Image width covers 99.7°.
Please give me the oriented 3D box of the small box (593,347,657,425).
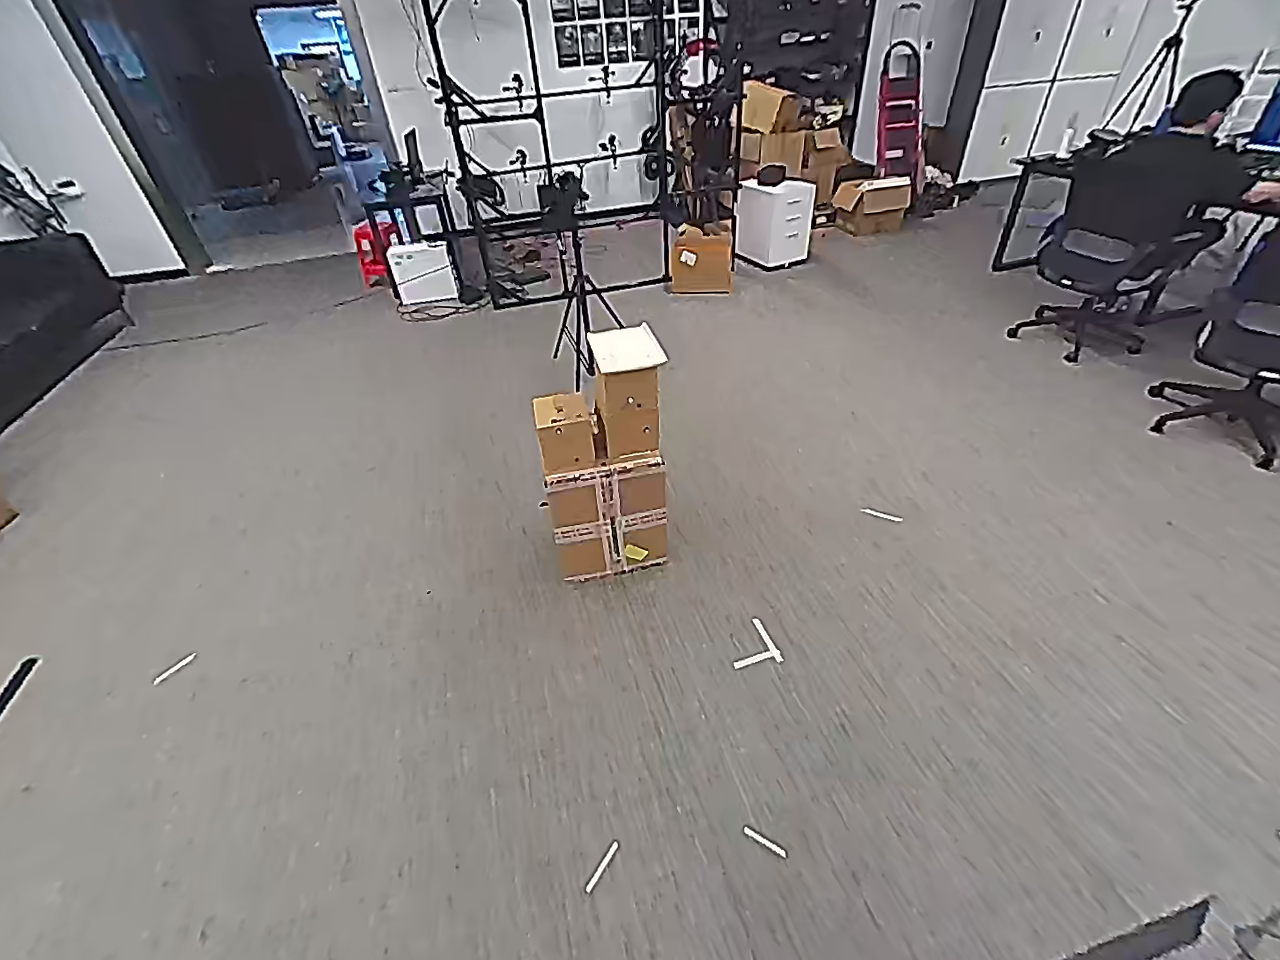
[{"bbox_3d":[-0.049,-0.291,1.668,0.168,0.176,0.179,-10,41,-10],"label":"small box"}]
